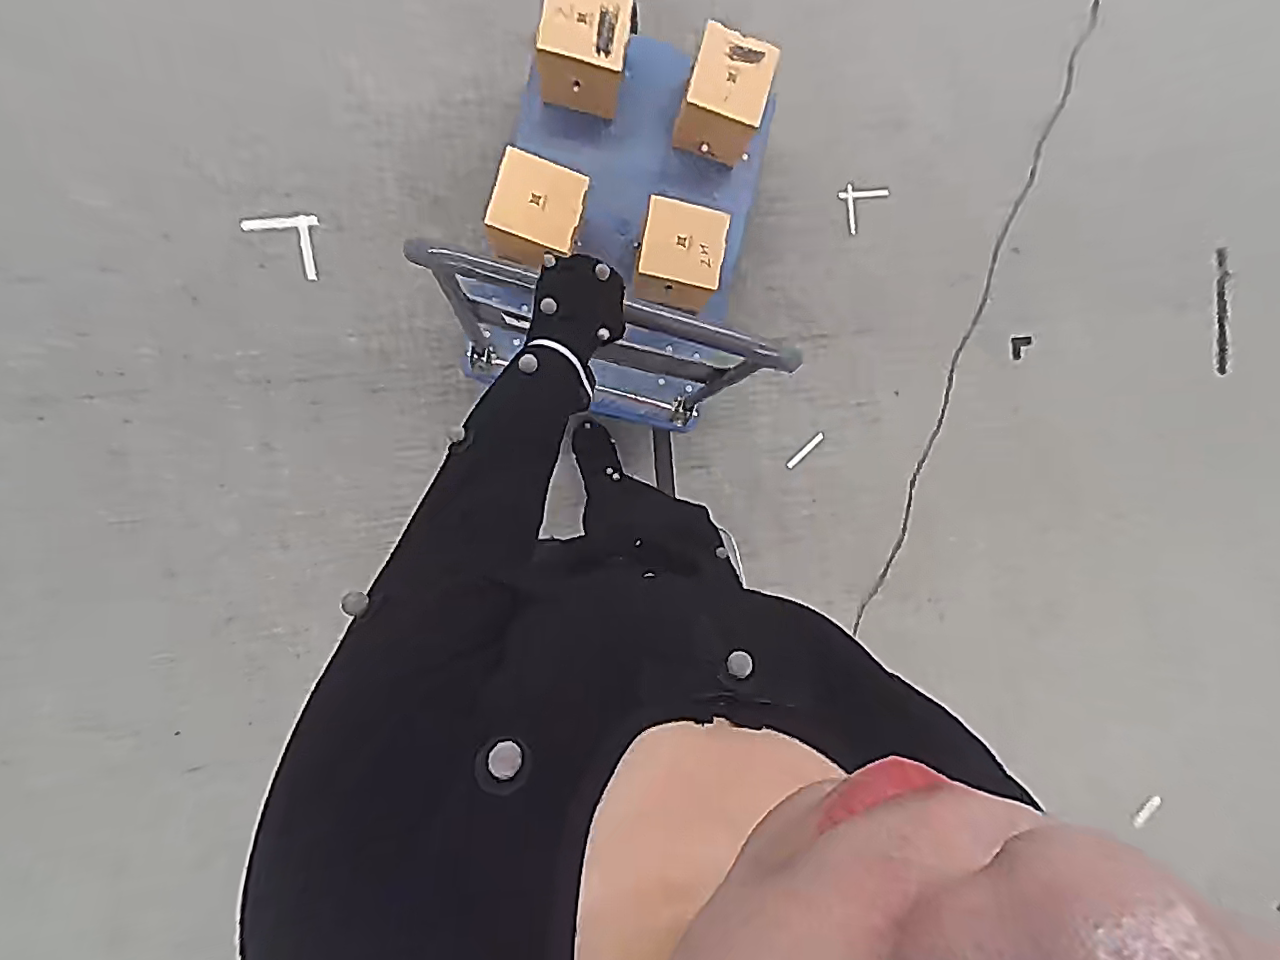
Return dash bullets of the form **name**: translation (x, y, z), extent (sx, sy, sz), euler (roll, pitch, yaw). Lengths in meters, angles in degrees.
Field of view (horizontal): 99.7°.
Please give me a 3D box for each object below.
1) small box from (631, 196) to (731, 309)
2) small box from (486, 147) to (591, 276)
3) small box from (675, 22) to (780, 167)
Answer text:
- **small box**: translation (0.083, -0.498, 1.212), extent (0.179, 0.176, 0.168), euler (11, 91, -8)
- **small box**: translation (-0.216, -0.566, 1.167), extent (0.179, 0.176, 0.168), euler (17, 89, -10)
- **small box**: translation (0.187, -0.850, 1.211), extent (0.168, 0.176, 0.179), euler (16, 91, -8)
